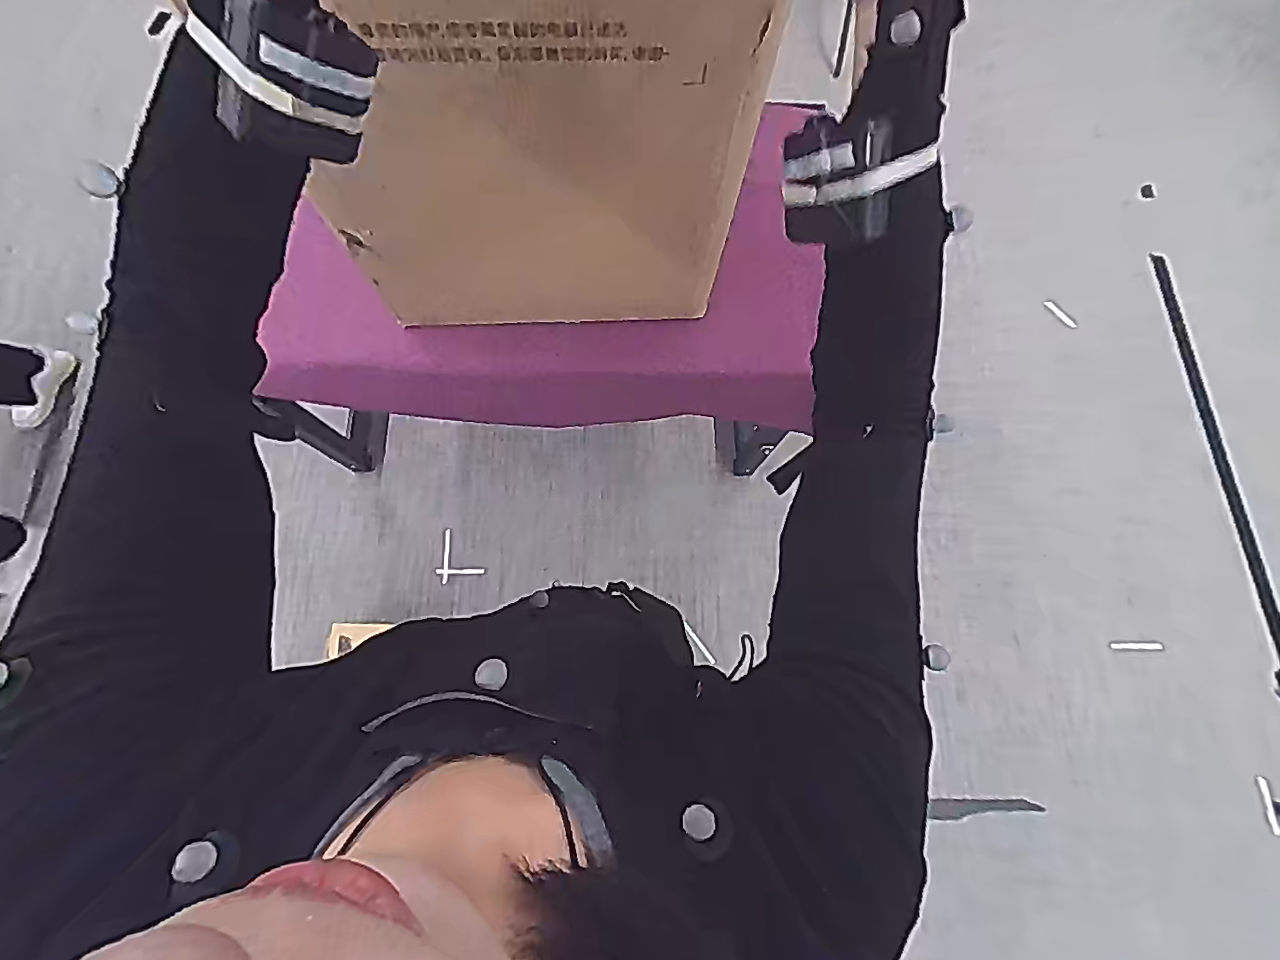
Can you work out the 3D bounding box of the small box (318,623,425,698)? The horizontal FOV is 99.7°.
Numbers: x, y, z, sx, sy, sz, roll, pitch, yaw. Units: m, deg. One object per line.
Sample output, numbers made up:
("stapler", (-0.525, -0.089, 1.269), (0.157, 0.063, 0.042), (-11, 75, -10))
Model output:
("small box", (-0.671, 0.454, 1.370), (0.179, 0.176, 0.168), (3, 74, -2))
